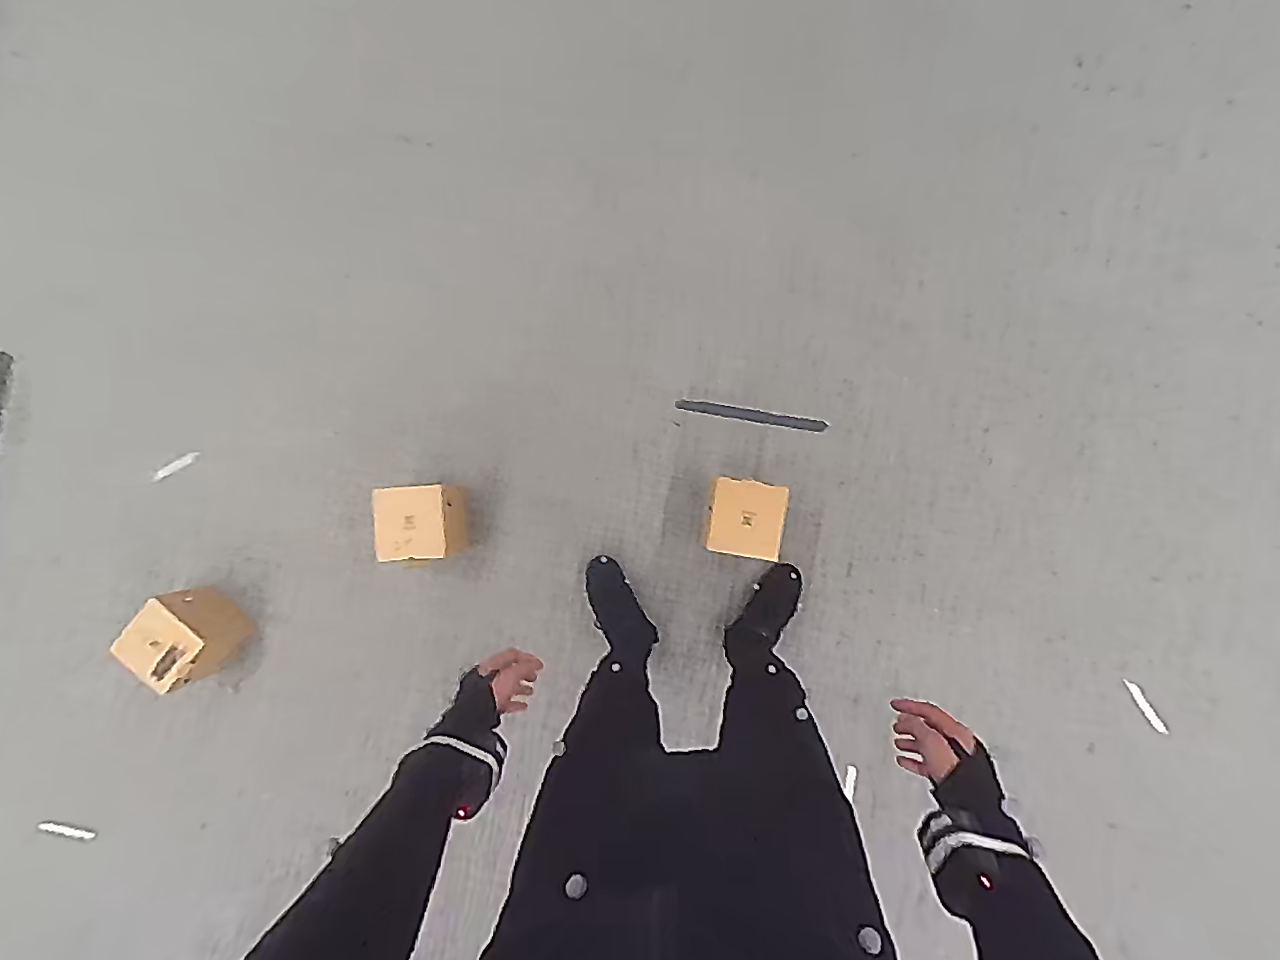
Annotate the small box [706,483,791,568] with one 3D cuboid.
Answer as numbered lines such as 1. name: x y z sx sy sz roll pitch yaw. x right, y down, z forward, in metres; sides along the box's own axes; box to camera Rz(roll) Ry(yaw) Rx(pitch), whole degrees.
1. small box: 0.257 0.106 1.322 0.168 0.176 0.179 9 88 3

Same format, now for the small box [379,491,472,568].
1. small box: -0.528 0.120 1.349 0.168 0.176 0.179 -4 89 2
